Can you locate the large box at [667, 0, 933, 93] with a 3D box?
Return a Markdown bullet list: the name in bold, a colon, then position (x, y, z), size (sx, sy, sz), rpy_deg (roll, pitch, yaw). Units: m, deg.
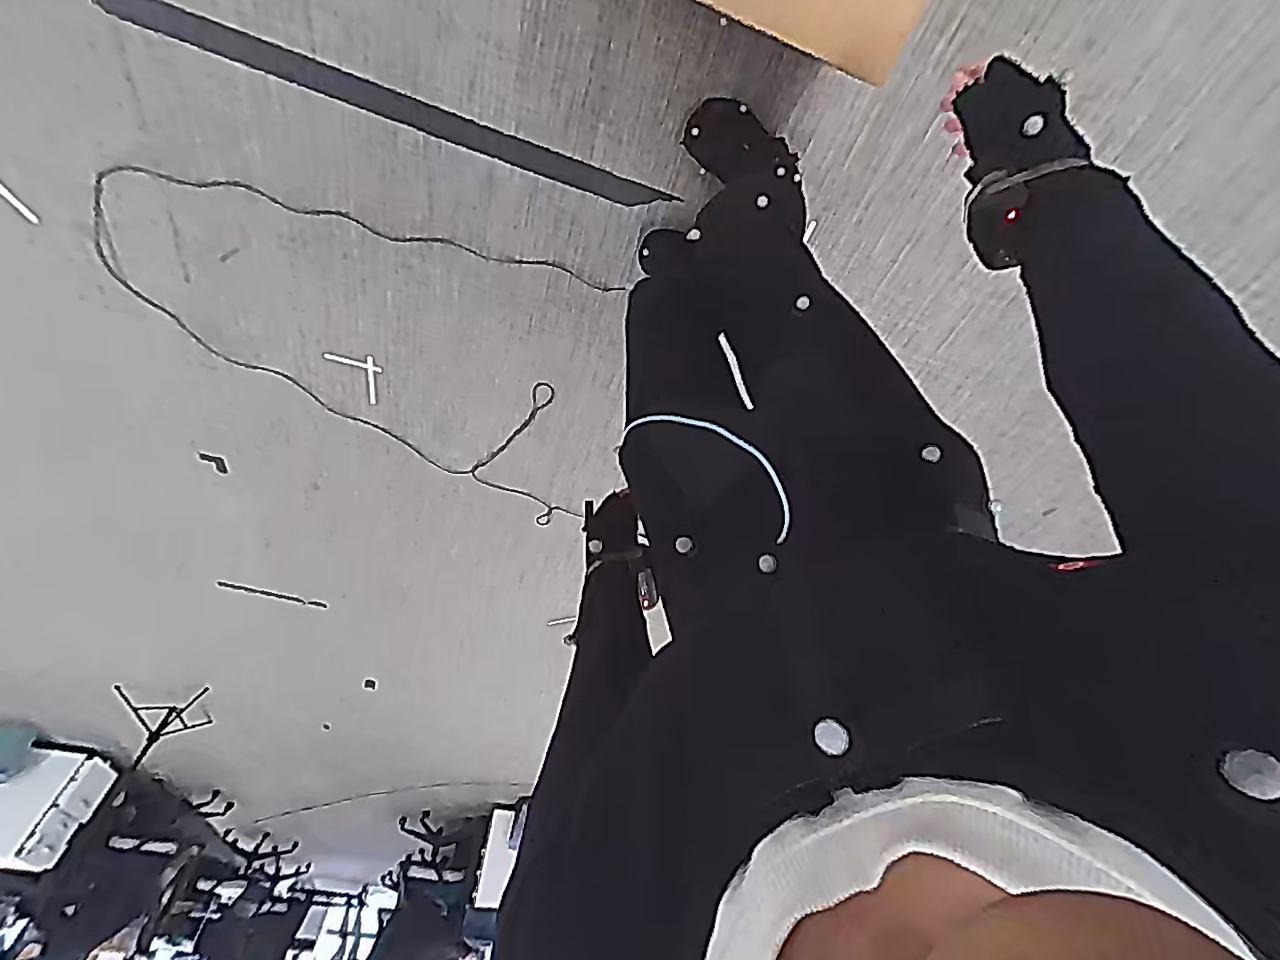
- **large box**: position (0.185, -0.755, 0.669), size (0.408, 0.320, 0.320), rpy_deg (16, 132, -11)
